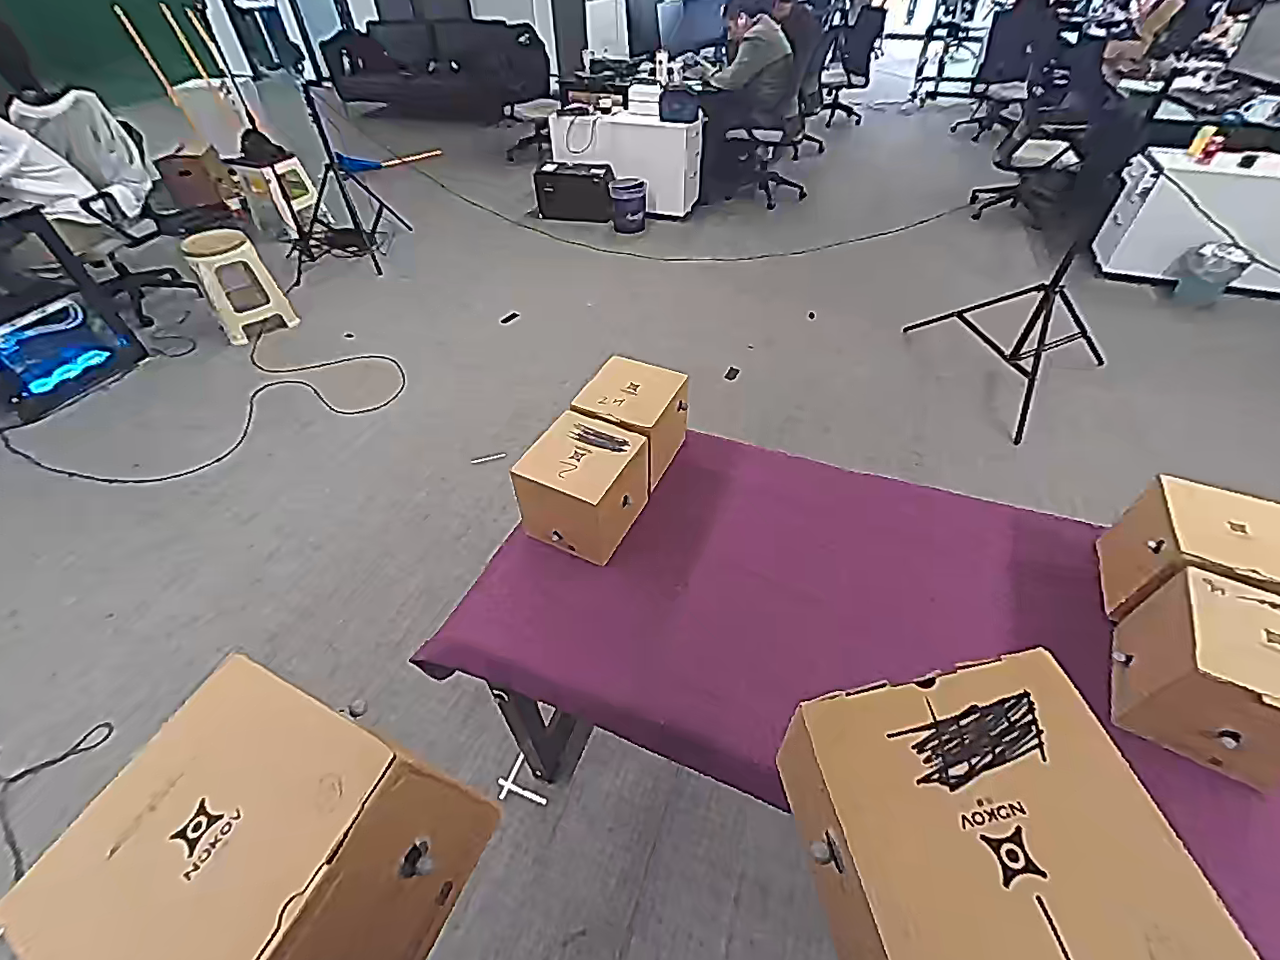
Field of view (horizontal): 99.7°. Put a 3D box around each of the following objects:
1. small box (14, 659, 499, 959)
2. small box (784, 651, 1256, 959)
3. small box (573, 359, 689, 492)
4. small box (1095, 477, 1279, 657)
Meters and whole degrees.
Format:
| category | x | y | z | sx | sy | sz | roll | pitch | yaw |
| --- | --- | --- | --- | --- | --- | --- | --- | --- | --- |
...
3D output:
| category | x | y | z | sx | sy | sz | roll | pitch | yaw |
| --- | --- | --- | --- | --- | --- | --- | --- | --- | --- |
| small box | -0.230 | 0.258 | 0.372 | 0.179 | 0.176 | 0.168 | 12 | 52 | 25 |
| small box | 0.205 | 0.241 | 0.356 | 0.168 | 0.176 | 0.179 | -13 | 52 | -2 |
| small box | -0.015 | -0.109 | 1.071 | 0.168 | 0.176 | 0.179 | 19 | 49 | 19 |
| small box | 0.836 | 0.131 | 0.822 | 0.168 | 0.176 | 0.179 | 19 | 48 | 18 |
